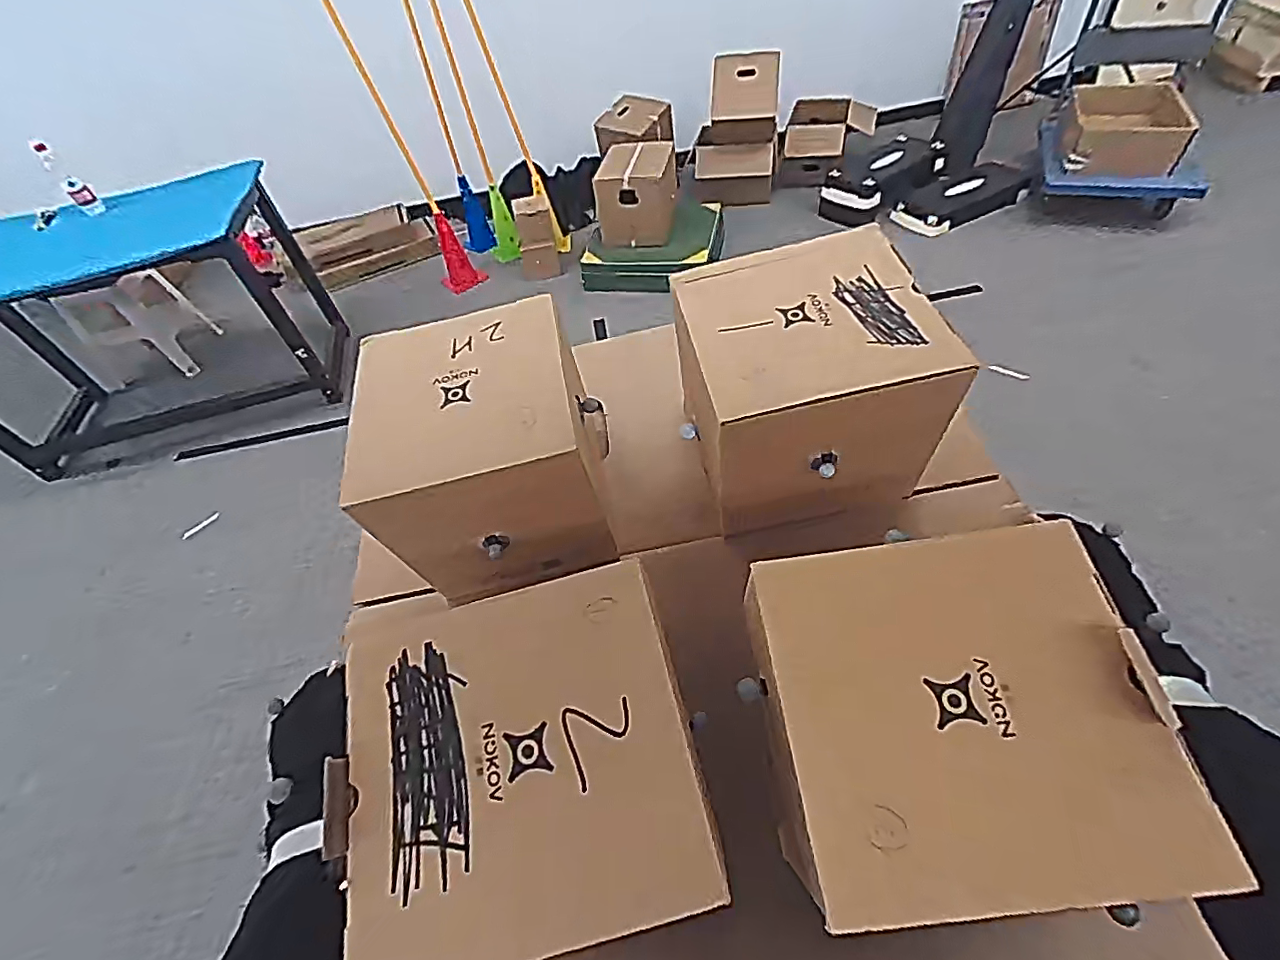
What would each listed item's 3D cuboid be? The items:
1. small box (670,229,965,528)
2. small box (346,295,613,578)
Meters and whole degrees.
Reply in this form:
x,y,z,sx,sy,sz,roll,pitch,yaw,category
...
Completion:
x,y,z,sx,sy,sz,roll,pitch,yaw,category
0.131,-0.078,0.469,0.179,0.176,0.168,-13,56,3,small box
-0.126,-0.027,0.482,0.168,0.176,0.179,-13,56,1,small box
